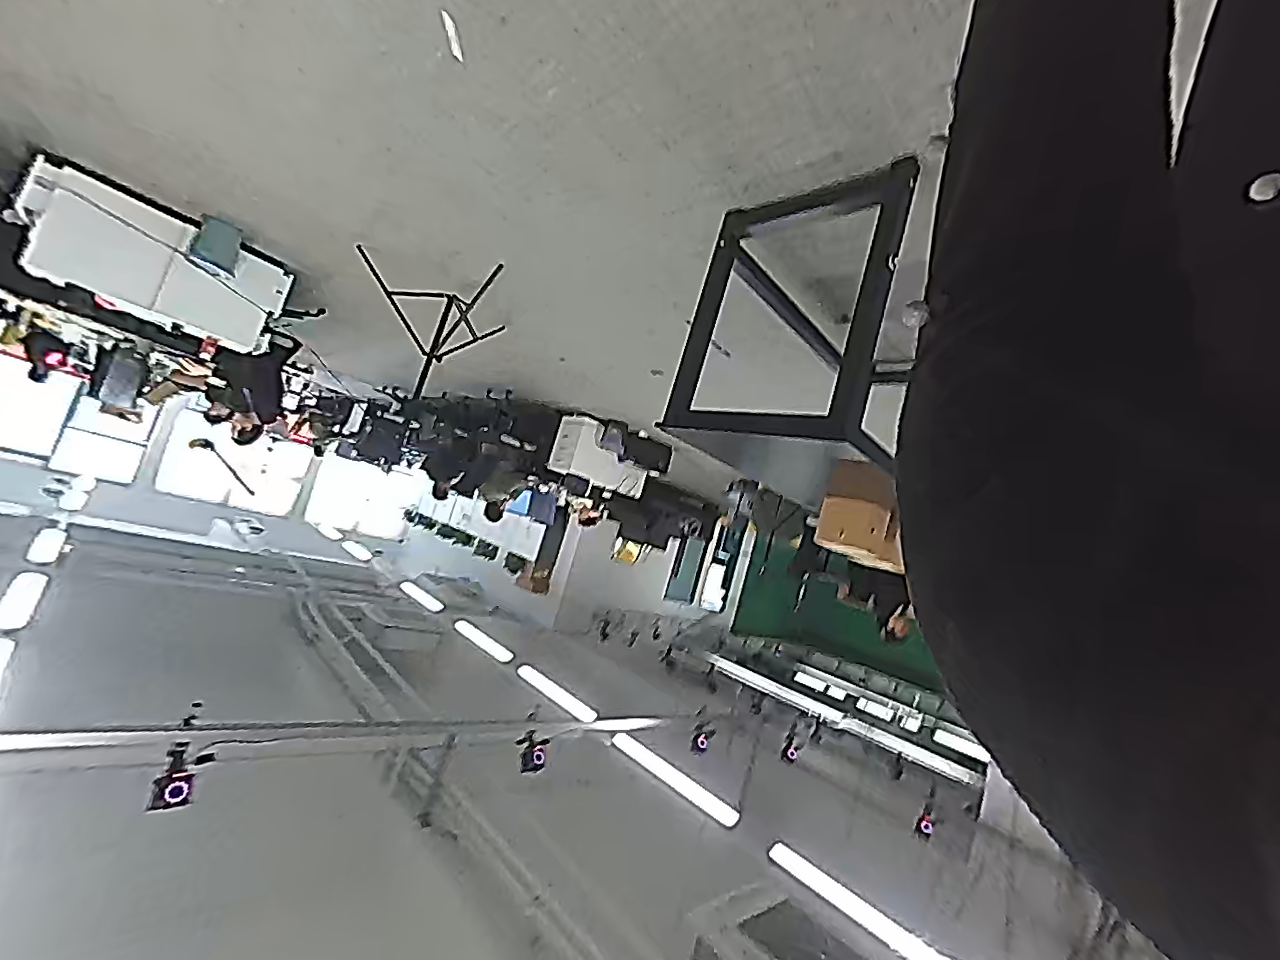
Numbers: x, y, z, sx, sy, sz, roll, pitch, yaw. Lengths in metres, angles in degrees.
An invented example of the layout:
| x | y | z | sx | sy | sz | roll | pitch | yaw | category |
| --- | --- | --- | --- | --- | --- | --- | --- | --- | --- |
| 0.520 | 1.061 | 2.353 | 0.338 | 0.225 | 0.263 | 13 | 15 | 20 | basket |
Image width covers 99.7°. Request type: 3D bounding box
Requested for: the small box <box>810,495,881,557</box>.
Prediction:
| x | y | z | sx | sy | sz | roll | pitch | yaw | category |
| --- | --- | --- | --- | --- | --- | --- | --- | --- | --- |
| 0.730 | 0.158 | 1.903 | 0.179 | 0.176 | 0.168 | 11 | 171 | 46 | small box |

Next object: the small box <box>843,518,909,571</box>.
| x | y | z | sx | sy | sz | roll | pitch | yaw | category |
| --- | --- | --- | --- | --- | --- | --- | --- | --- | --- |
| 0.910 | 0.235 | 2.079 | 0.179 | 0.176 | 0.168 | 24 | 171 | -42 | small box |
